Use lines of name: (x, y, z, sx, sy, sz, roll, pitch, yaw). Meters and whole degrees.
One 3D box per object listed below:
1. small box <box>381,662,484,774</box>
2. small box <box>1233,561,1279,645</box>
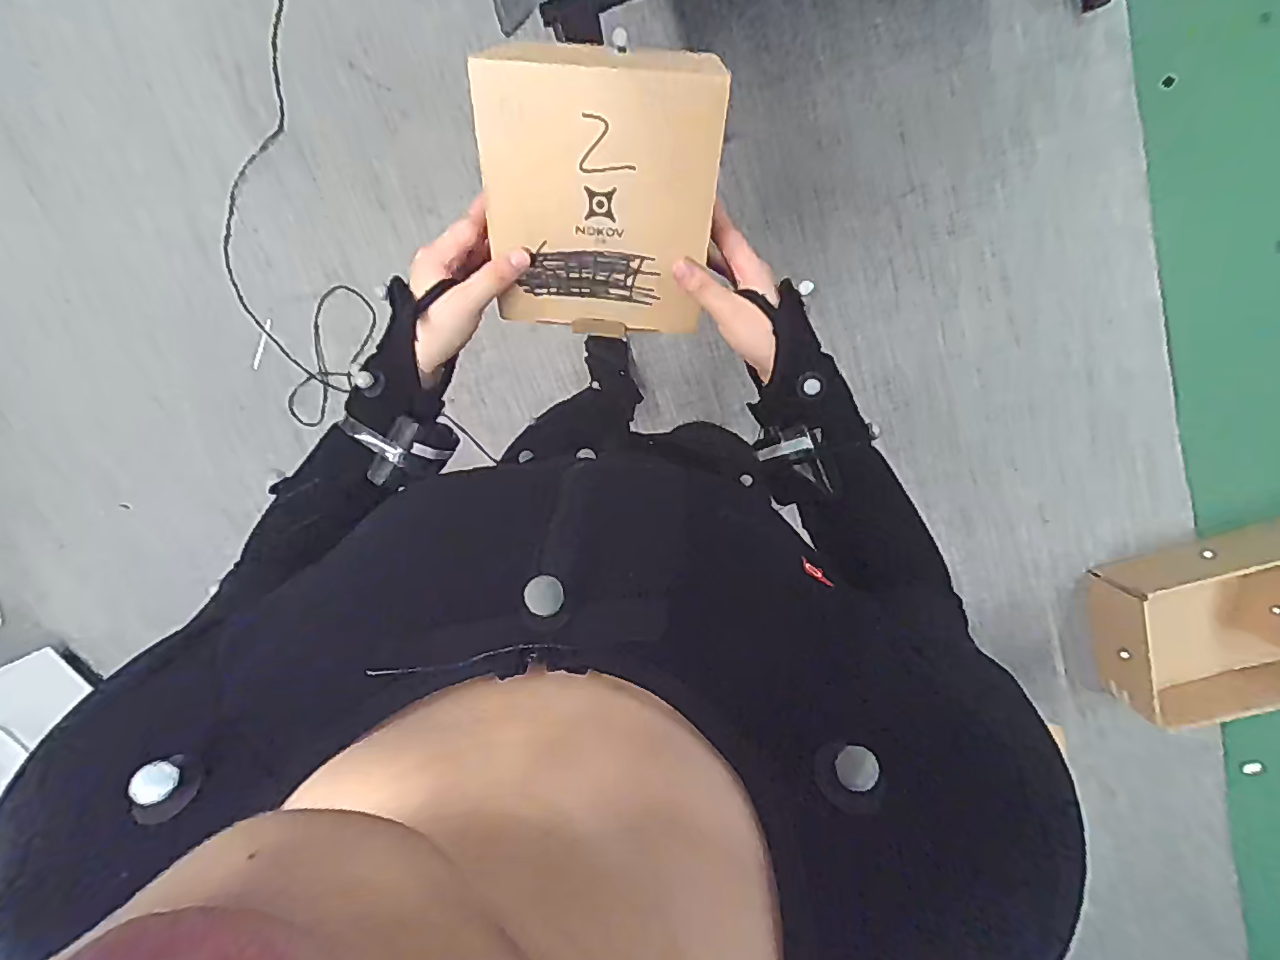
small box: (-0.453, 0.523, 1.207, 0.179, 0.176, 0.168, 3, 102, -1)
small box: (1.663, 0.317, 1.354, 0.168, 0.176, 0.179, -2, 103, 3)
